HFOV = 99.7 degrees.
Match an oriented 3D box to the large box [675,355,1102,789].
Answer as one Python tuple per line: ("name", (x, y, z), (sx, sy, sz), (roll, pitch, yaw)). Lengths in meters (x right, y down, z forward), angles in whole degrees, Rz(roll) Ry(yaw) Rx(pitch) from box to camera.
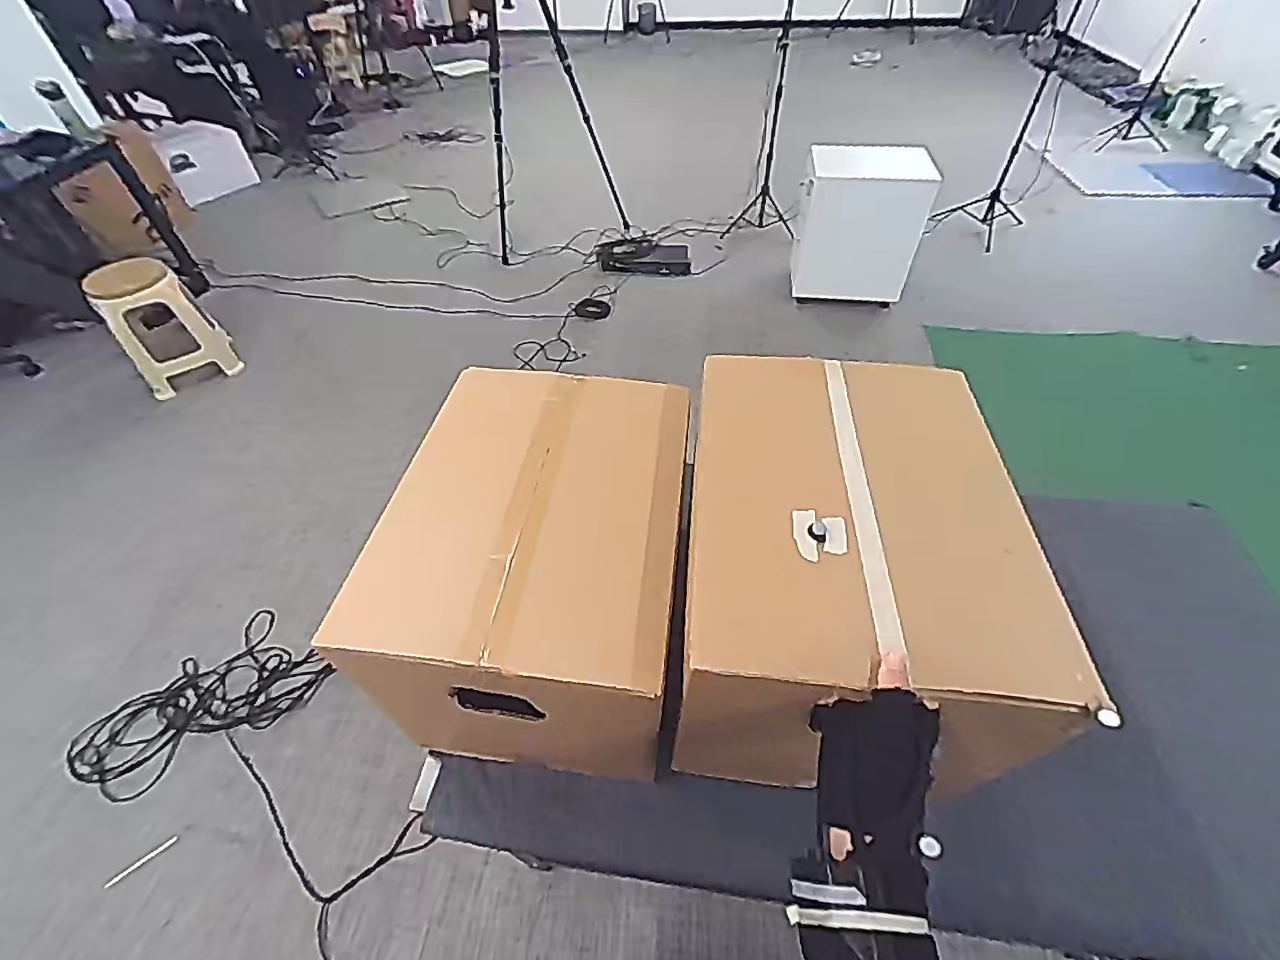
("large box", (0.210, 0.103, 0.650), (0.320, 0.320, 0.408), (4, 50, 5))
